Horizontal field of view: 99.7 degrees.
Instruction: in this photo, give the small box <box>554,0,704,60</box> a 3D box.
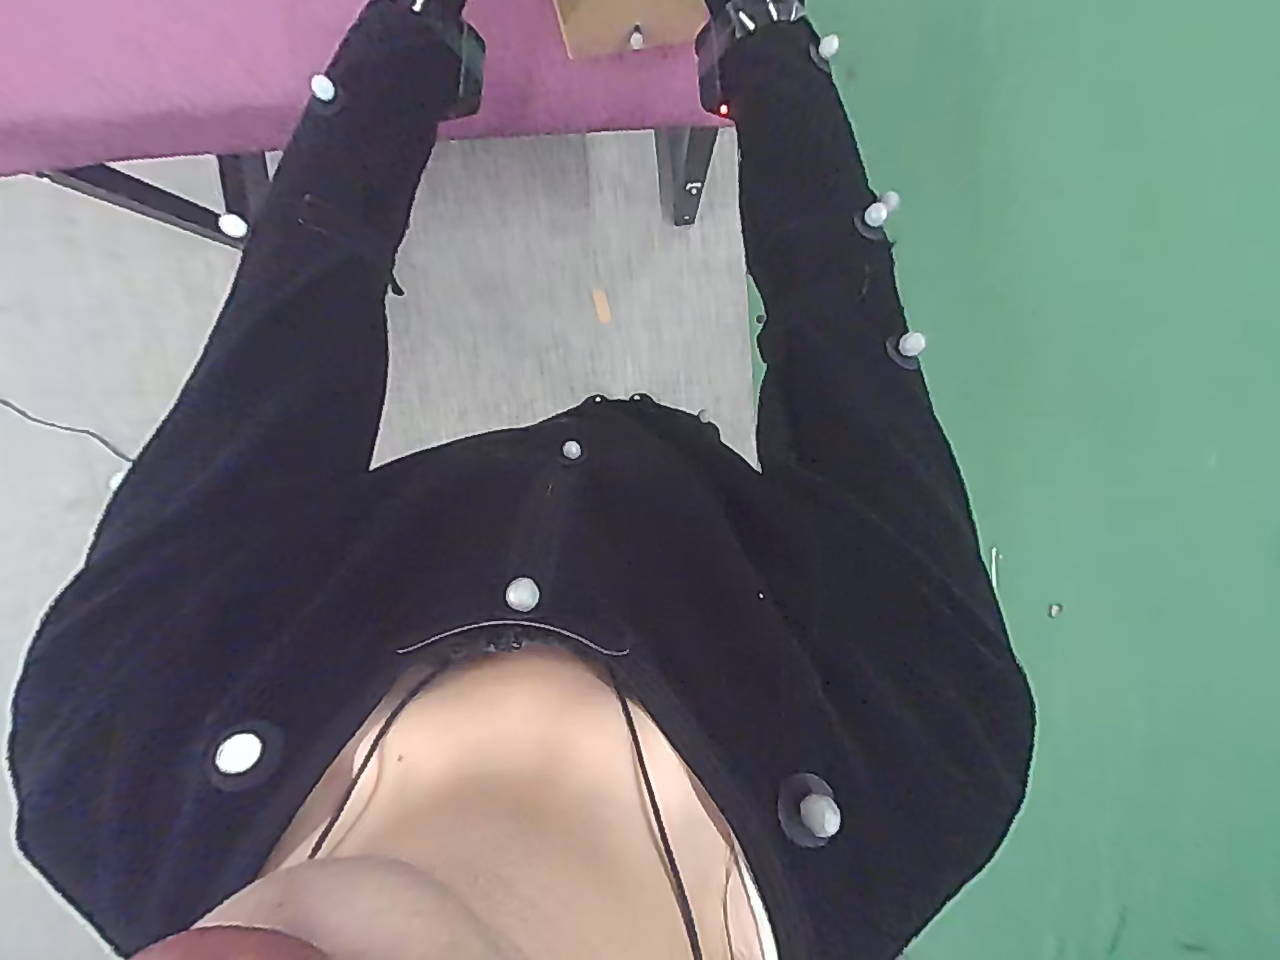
[{"bbox_3d":[-0.017,-0.613,0.600,0.179,0.176,0.168,-8,100,2],"label":"small box"}]
